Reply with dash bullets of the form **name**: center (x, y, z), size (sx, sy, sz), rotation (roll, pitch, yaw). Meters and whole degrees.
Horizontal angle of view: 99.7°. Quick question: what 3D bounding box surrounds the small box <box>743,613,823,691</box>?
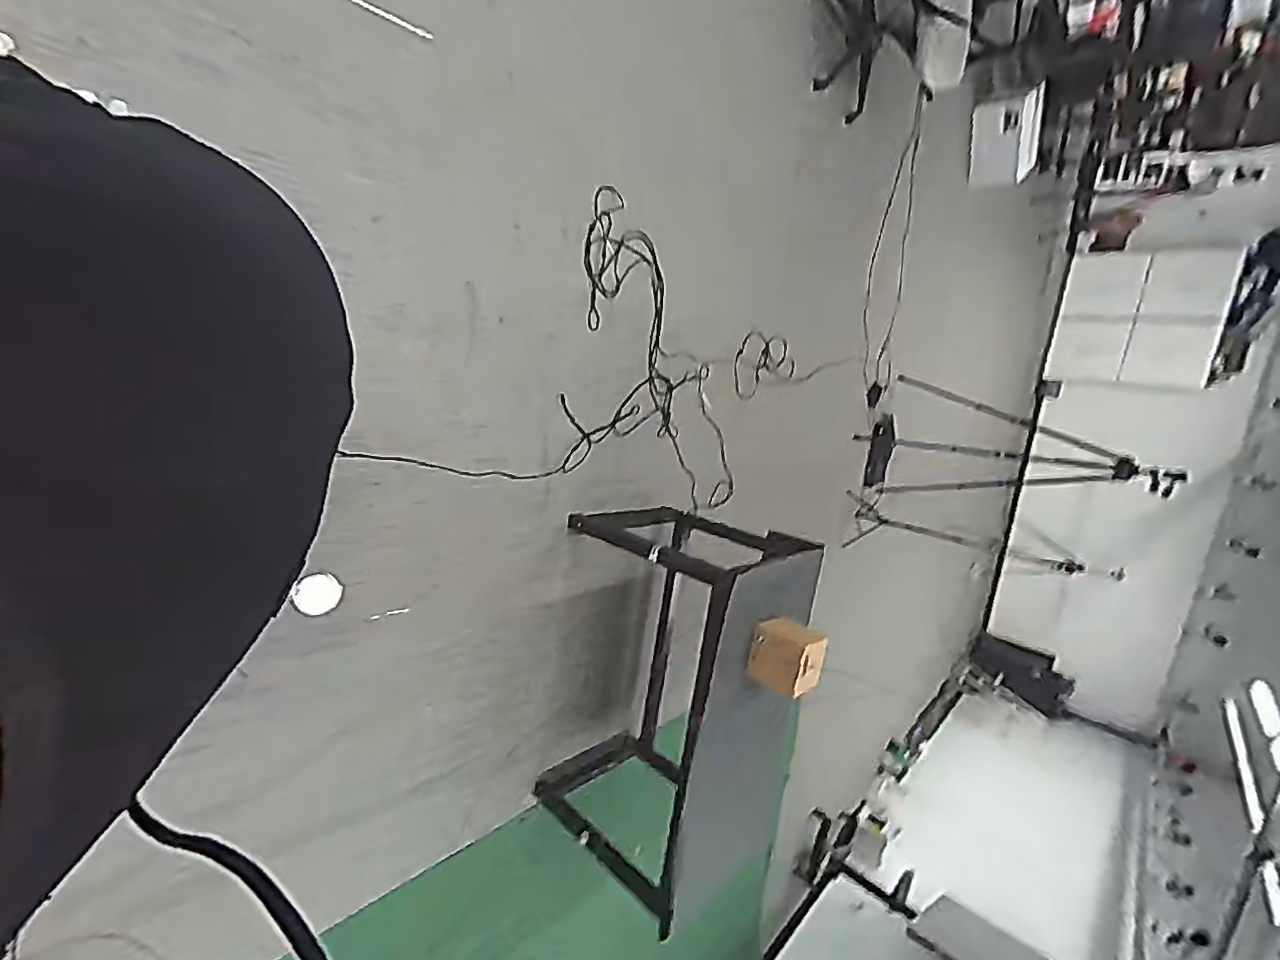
- **small box**: center (0.447, 0.536, 1.706), size (0.179, 0.176, 0.168), rotation (4, 99, -49)
